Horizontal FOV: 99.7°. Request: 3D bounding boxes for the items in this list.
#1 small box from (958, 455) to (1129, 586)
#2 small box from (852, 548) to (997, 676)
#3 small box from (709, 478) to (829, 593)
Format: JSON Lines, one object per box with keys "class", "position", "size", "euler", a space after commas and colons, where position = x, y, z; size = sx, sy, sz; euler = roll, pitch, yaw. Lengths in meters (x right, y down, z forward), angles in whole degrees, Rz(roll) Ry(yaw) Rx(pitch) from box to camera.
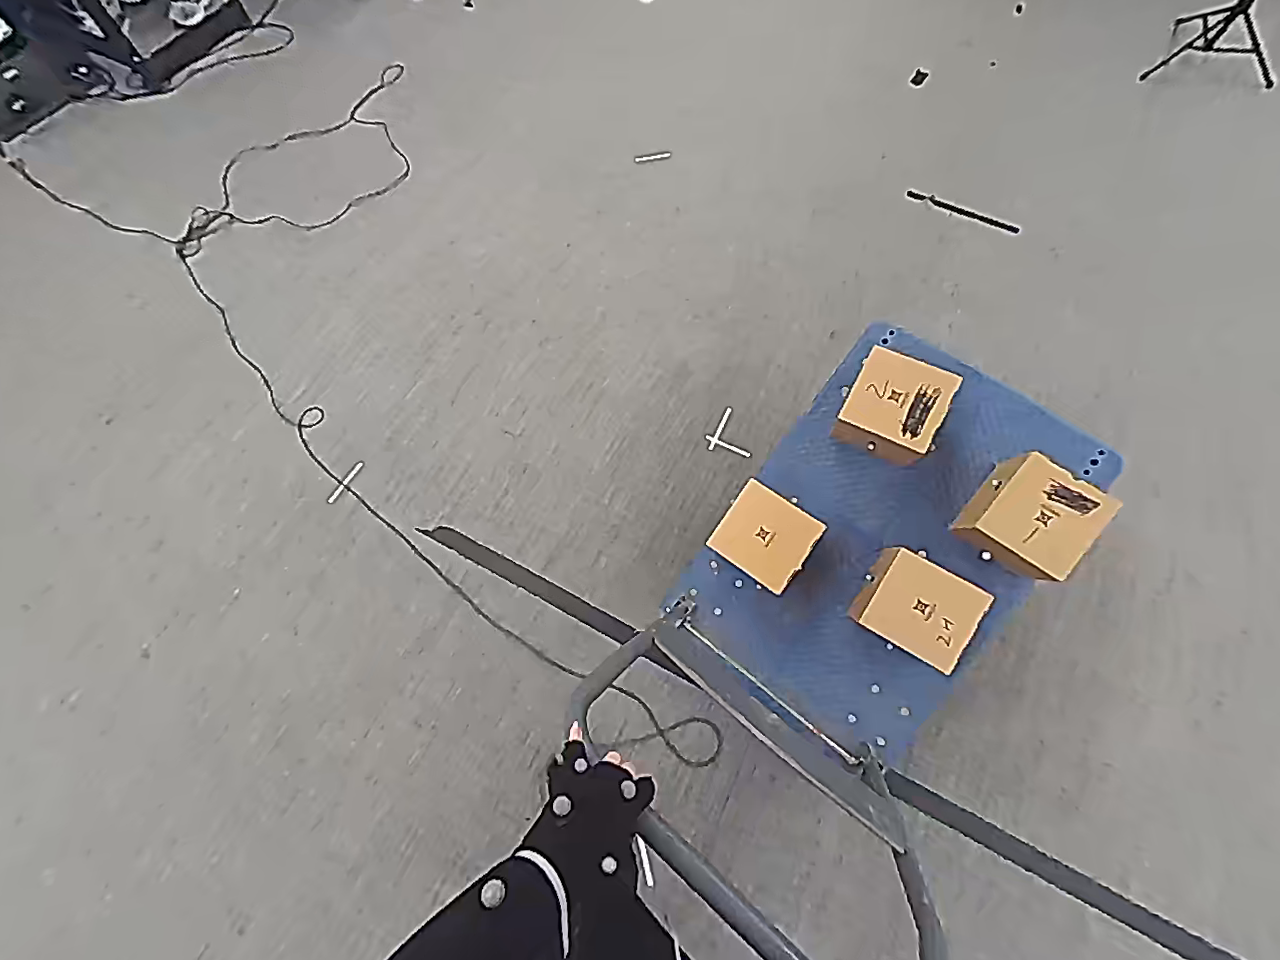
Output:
{"class": "small box", "position": [0.744, 0.078, 1.025], "size": [0.168, 0.176, 0.179], "euler": [38, 94, 16]}
{"class": "small box", "position": [0.538, 0.249, 1.055], "size": [0.179, 0.176, 0.168], "euler": [31, 91, 16]}
{"class": "small box", "position": [0.268, 0.119, 1.142], "size": [0.179, 0.176, 0.168], "euler": [35, 92, 14]}
